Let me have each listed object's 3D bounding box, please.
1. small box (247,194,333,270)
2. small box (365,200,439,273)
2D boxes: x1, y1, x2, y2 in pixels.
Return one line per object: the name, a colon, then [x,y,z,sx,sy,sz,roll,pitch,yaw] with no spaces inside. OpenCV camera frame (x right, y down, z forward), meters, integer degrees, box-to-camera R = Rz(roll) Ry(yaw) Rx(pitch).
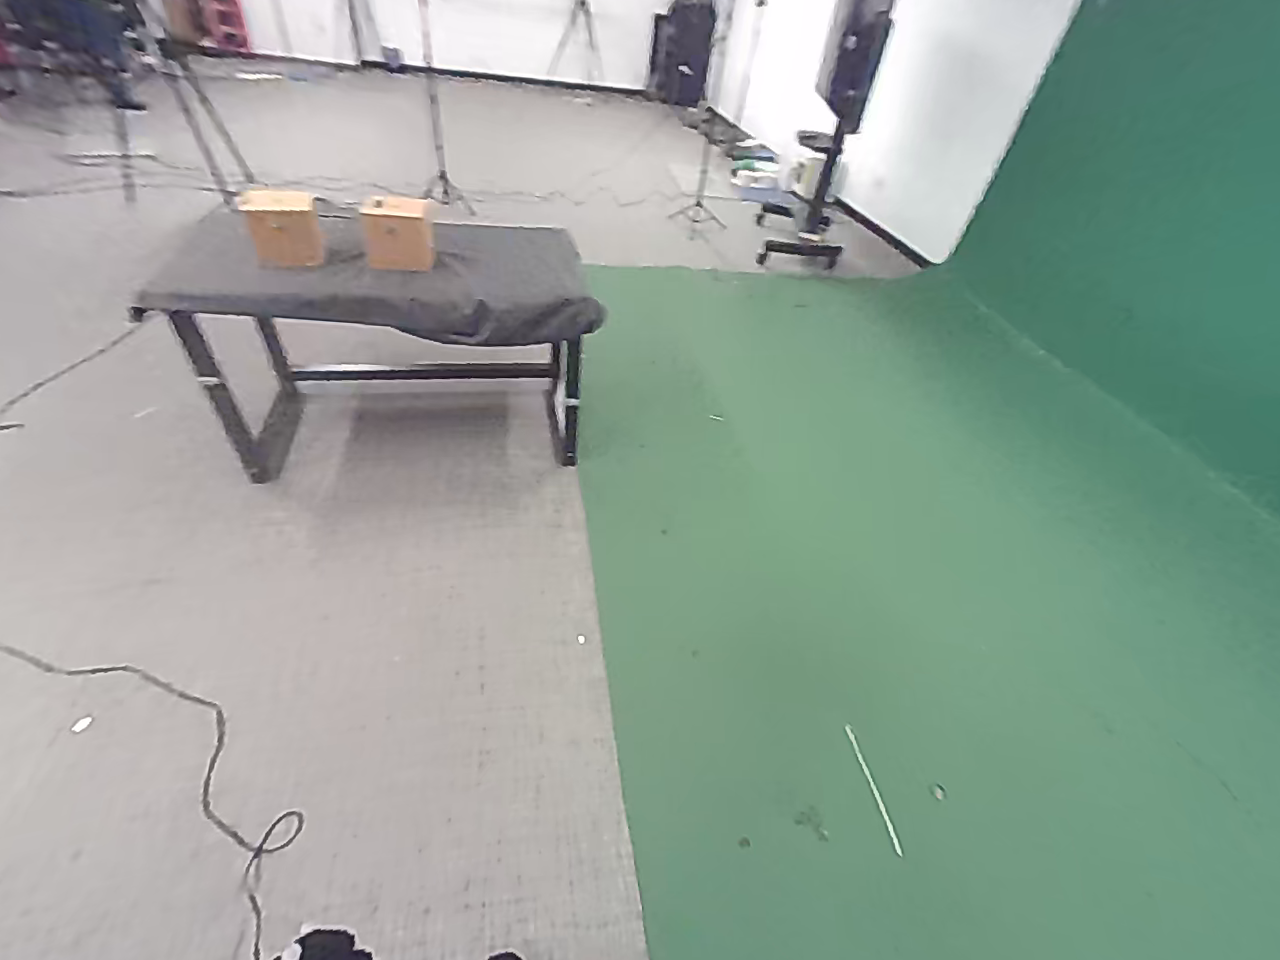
small box: [-1.052,-0.751,1.640,0.179,0.176,0.168,-9,47,-20]
small box: [-0.744,-0.768,1.709,0.179,0.176,0.168,-1,44,-12]
